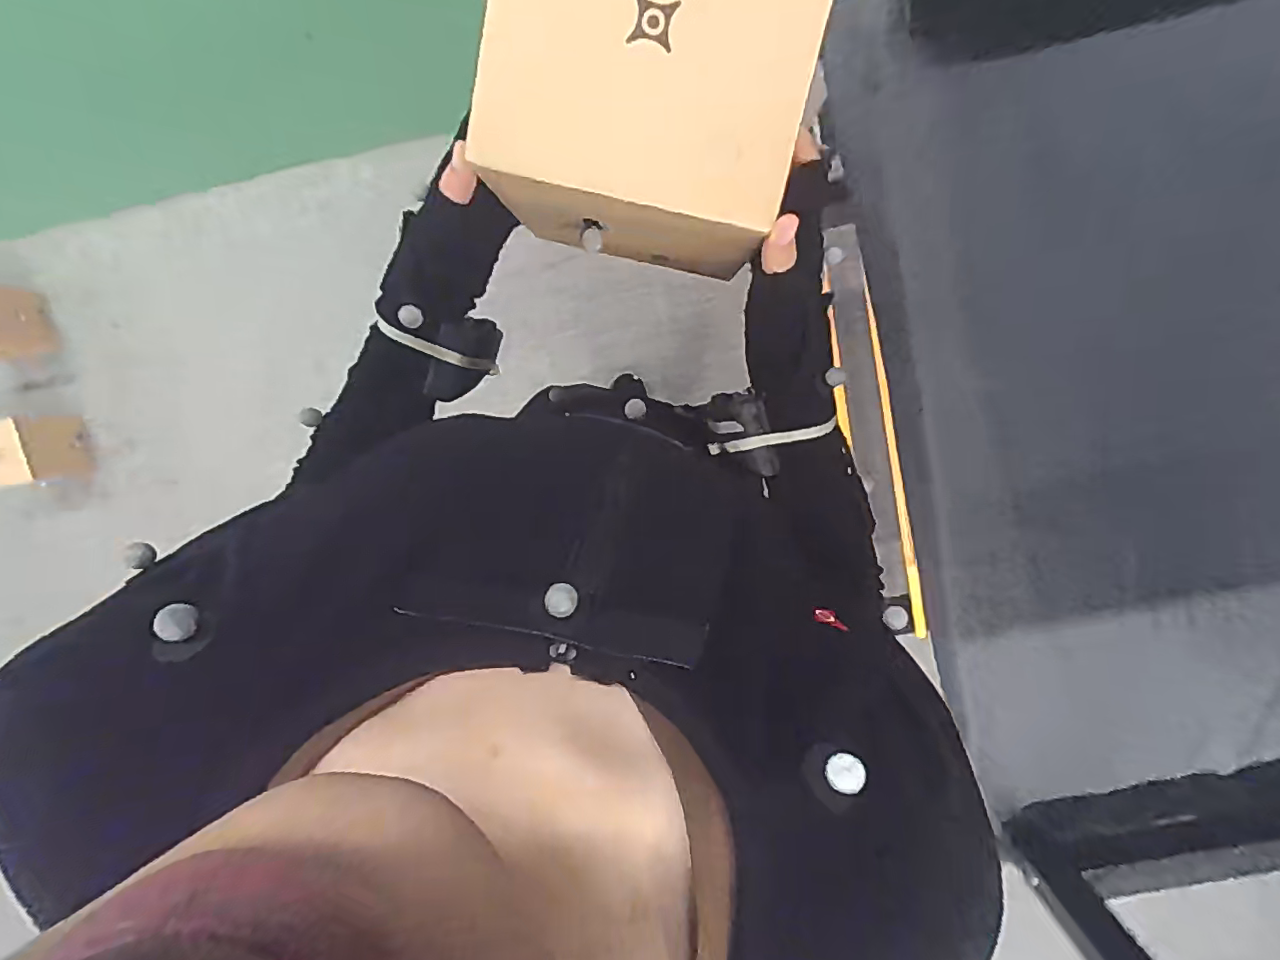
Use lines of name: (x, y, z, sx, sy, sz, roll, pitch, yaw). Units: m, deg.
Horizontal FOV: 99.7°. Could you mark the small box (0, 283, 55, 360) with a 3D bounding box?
small box: (-1.657, -0.404, 1.369, 0.179, 0.176, 0.168, -10, 98, 3)
